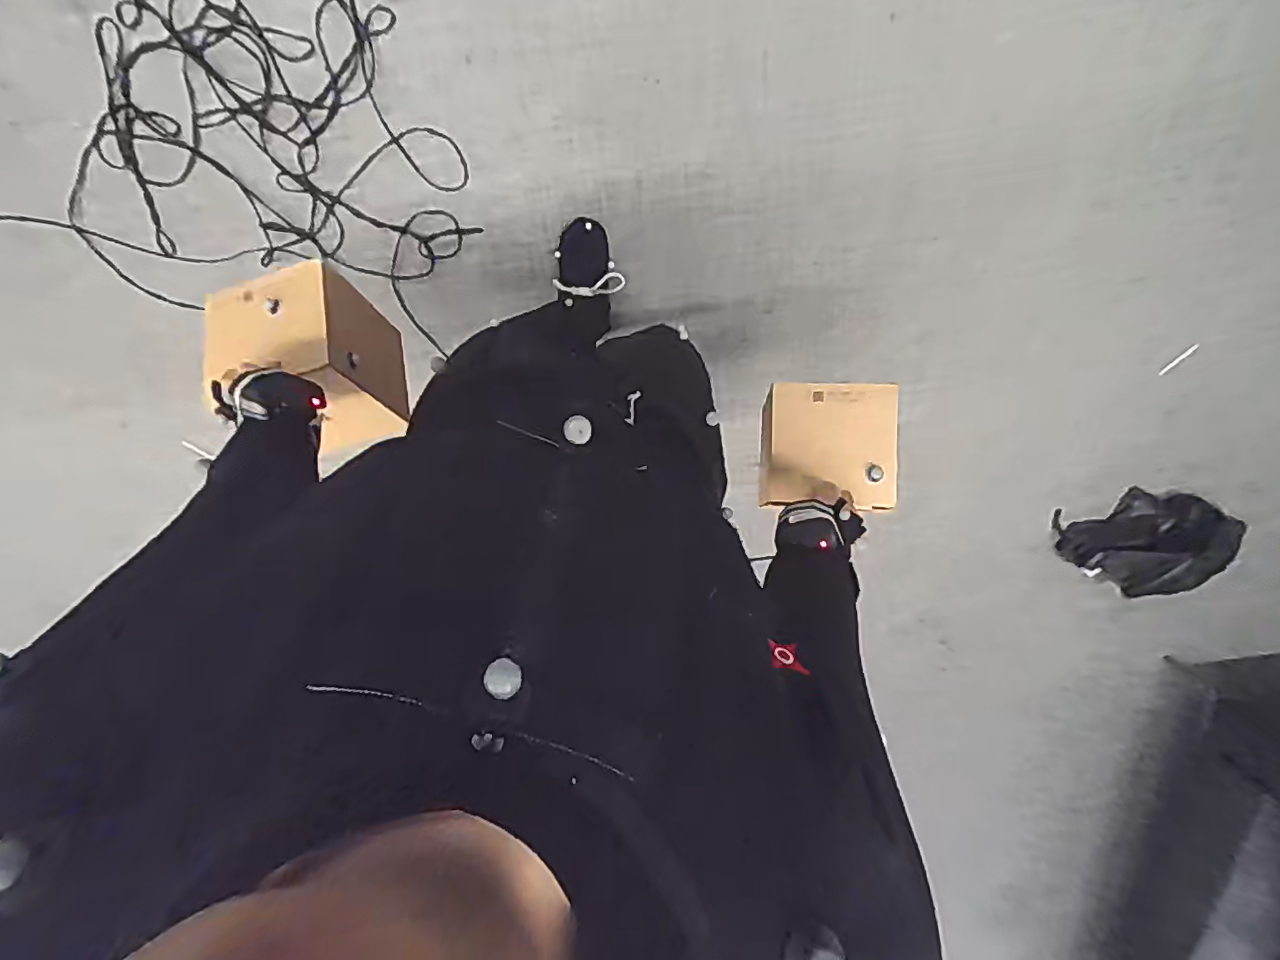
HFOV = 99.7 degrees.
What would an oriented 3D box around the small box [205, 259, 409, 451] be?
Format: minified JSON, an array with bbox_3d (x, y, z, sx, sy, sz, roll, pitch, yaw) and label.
[{"bbox_3d":[-0.442,-0.163,0.739,0.168,0.179,0.176,-16,71,5],"label":"small box"}]
